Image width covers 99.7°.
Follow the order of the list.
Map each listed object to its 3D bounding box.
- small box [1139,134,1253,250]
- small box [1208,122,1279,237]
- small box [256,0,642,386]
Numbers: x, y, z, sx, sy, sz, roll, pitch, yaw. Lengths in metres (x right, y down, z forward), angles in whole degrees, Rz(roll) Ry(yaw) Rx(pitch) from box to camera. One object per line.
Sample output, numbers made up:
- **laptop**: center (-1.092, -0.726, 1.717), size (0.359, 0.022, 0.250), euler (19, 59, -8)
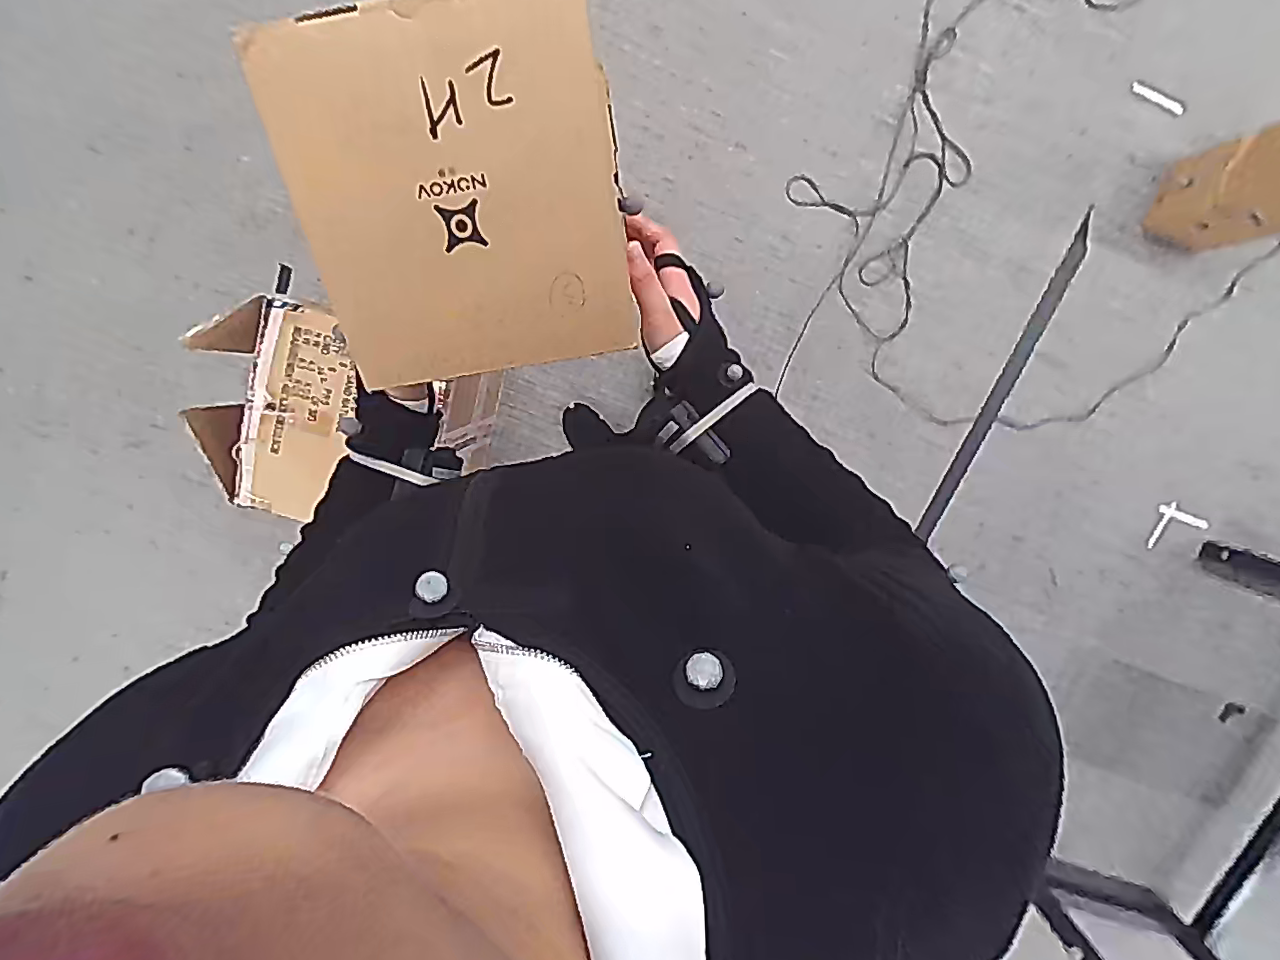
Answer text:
- **small box**: center (1.359, -0.668, 1.279), size (0.179, 0.176, 0.168), euler (22, 100, -3)
- **small box**: center (1.364, -0.637, 1.118), size (0.168, 0.176, 0.179), euler (26, 101, -4)
- **small box**: center (-0.091, -0.177, 0.357), size (0.168, 0.176, 0.179), euler (-9, 114, 0)
